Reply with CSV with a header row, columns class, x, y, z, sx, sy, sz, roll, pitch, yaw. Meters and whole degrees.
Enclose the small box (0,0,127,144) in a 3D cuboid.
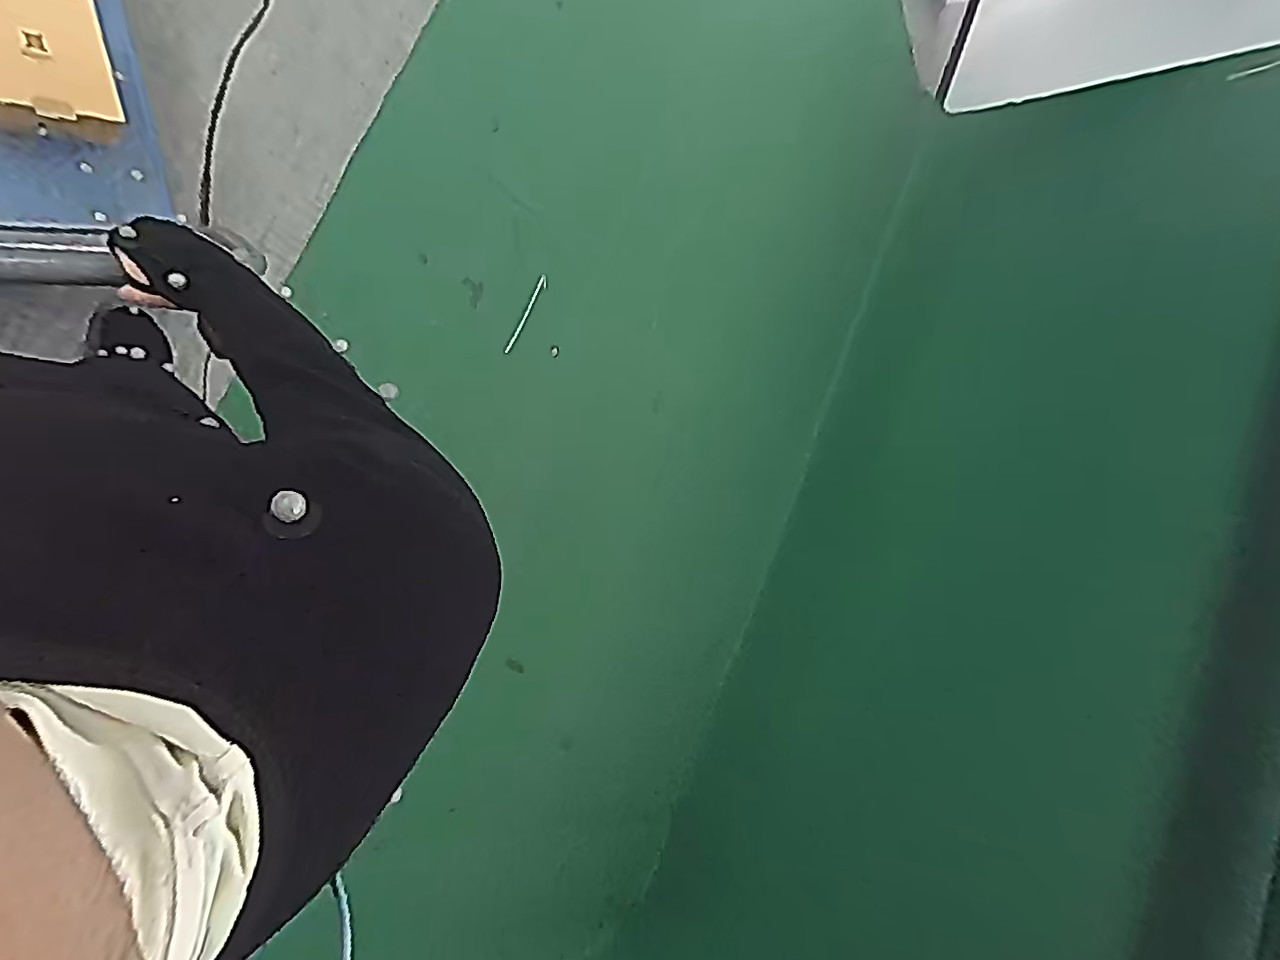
class,x,y,z,sx,sy,sz,roll,pitch,yaw
small box,-0.962,-0.662,0.859,0.168,0.176,0.179,-21,118,-45
